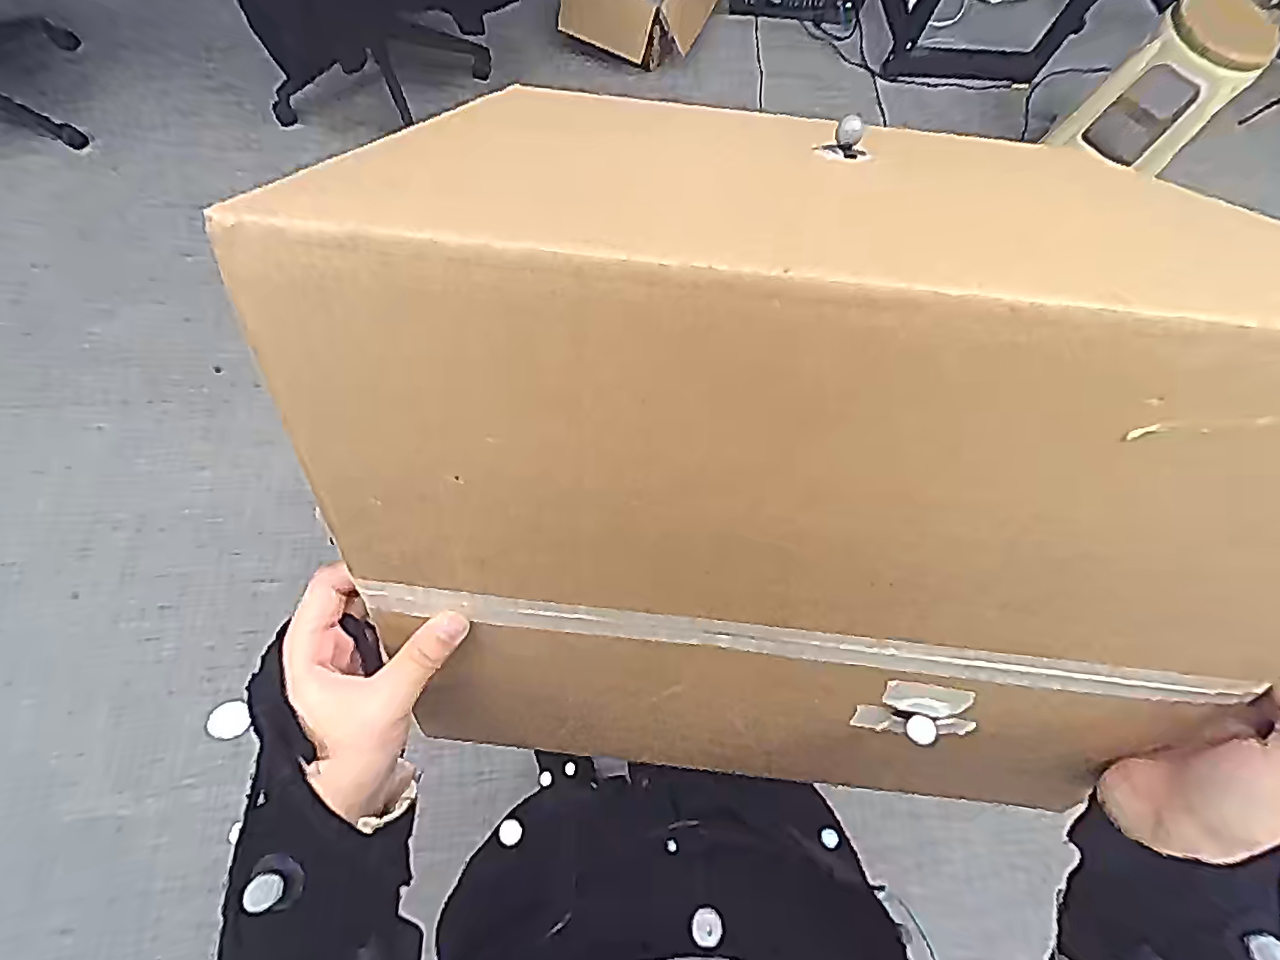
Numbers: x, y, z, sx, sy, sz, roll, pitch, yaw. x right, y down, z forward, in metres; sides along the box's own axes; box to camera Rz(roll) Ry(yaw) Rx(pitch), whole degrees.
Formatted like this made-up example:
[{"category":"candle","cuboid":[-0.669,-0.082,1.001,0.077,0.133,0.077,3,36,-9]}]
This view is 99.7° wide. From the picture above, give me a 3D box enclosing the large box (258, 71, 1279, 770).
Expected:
[{"category":"large box","cuboid":[0.094,-0.053,0.347,0.408,0.320,0.320,5,42,0]}]
